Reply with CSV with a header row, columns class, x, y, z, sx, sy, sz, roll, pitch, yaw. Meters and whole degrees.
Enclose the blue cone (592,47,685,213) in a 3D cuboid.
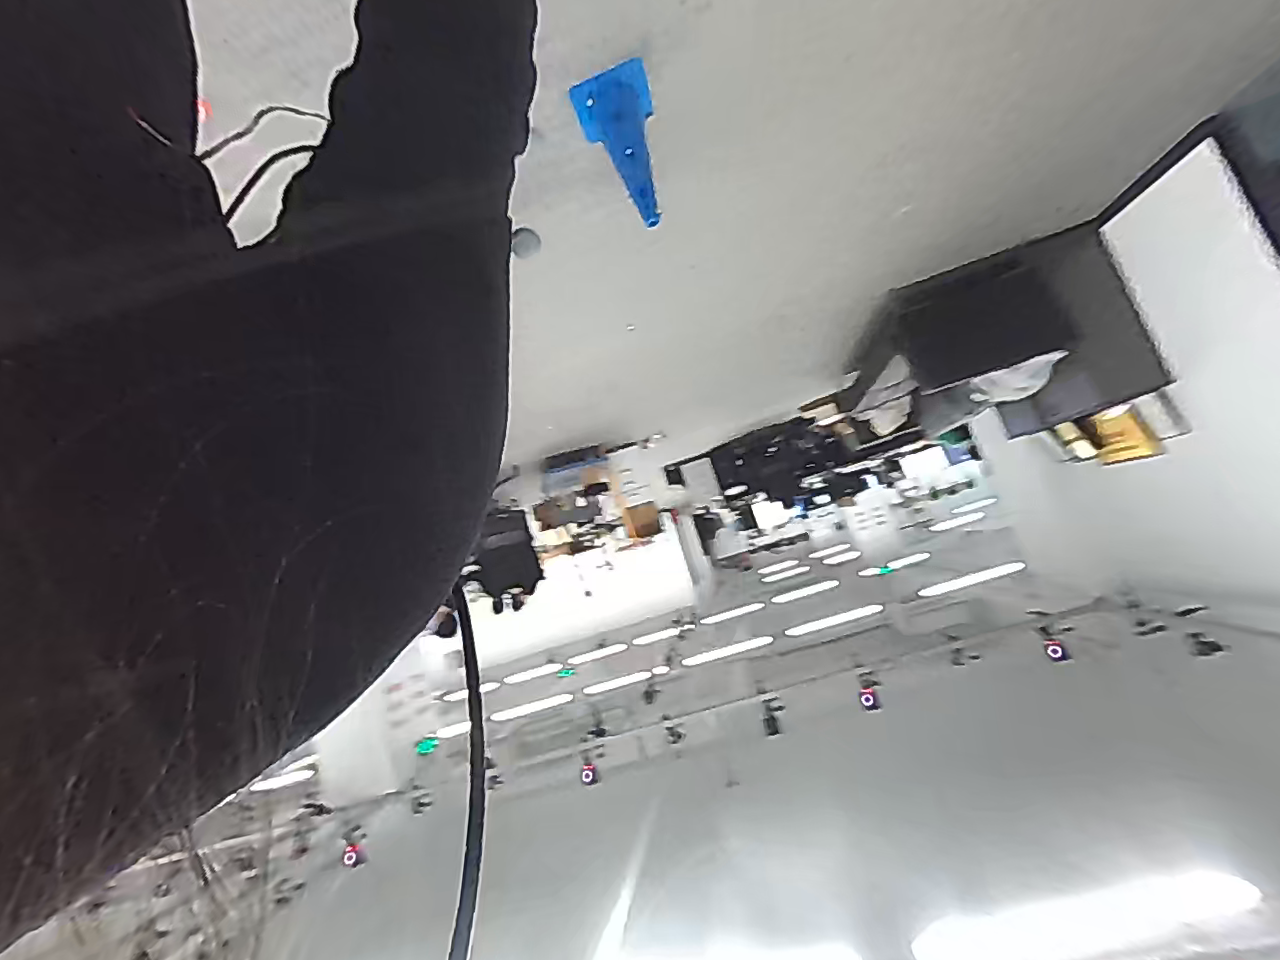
class,x,y,z,sx,sy,sz,roll,pitch,yaw
blue cone,0.030,-0.839,1.358,0.192,0.380,0.193,-19,171,9
